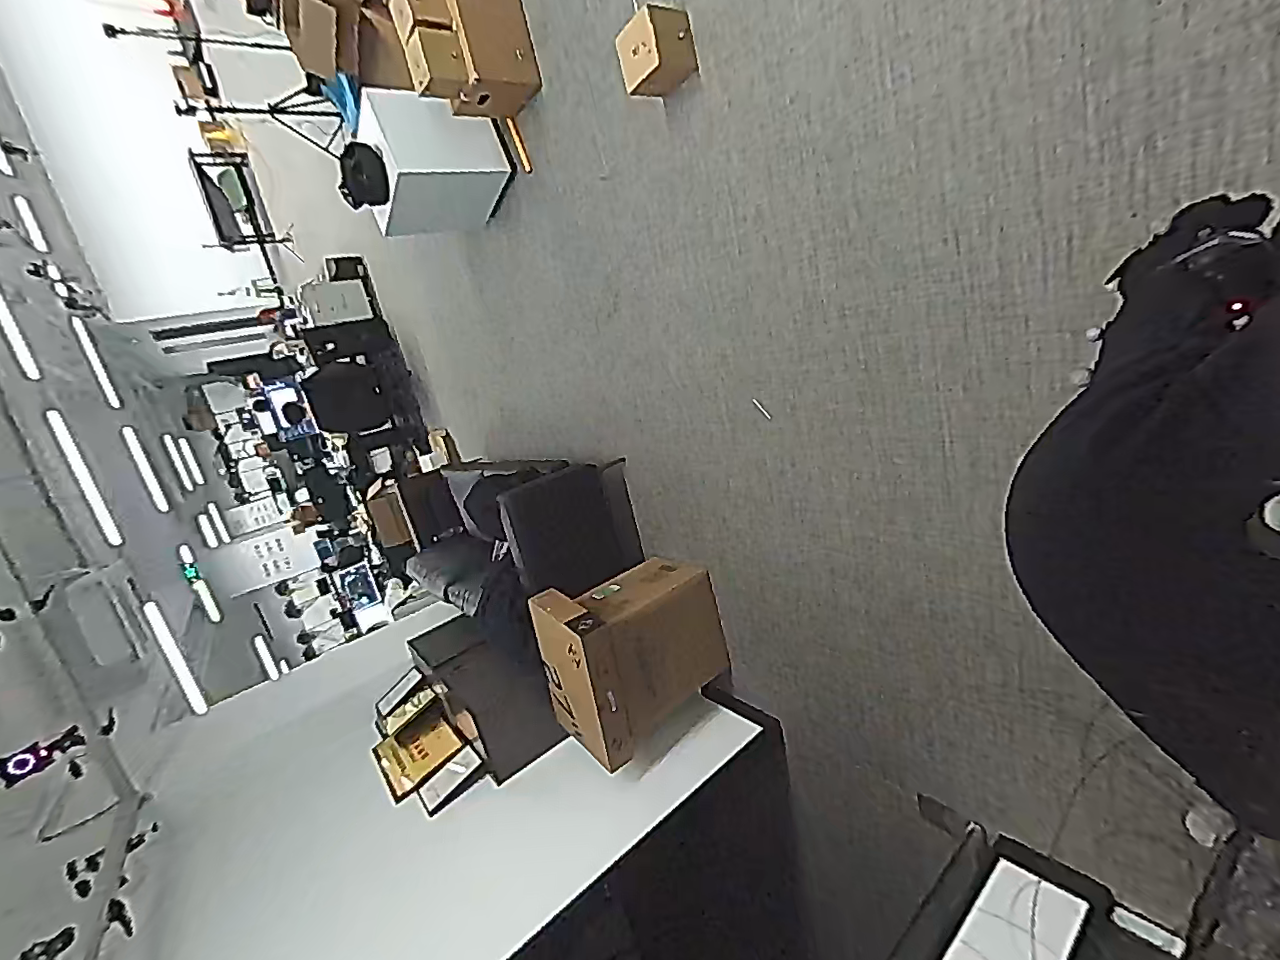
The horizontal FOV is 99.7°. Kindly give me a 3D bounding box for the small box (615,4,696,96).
[{"bbox_3d":[0.052,-1.359,1.725,0.179,0.176,0.168,2,112,54],"label":"small box"}]
